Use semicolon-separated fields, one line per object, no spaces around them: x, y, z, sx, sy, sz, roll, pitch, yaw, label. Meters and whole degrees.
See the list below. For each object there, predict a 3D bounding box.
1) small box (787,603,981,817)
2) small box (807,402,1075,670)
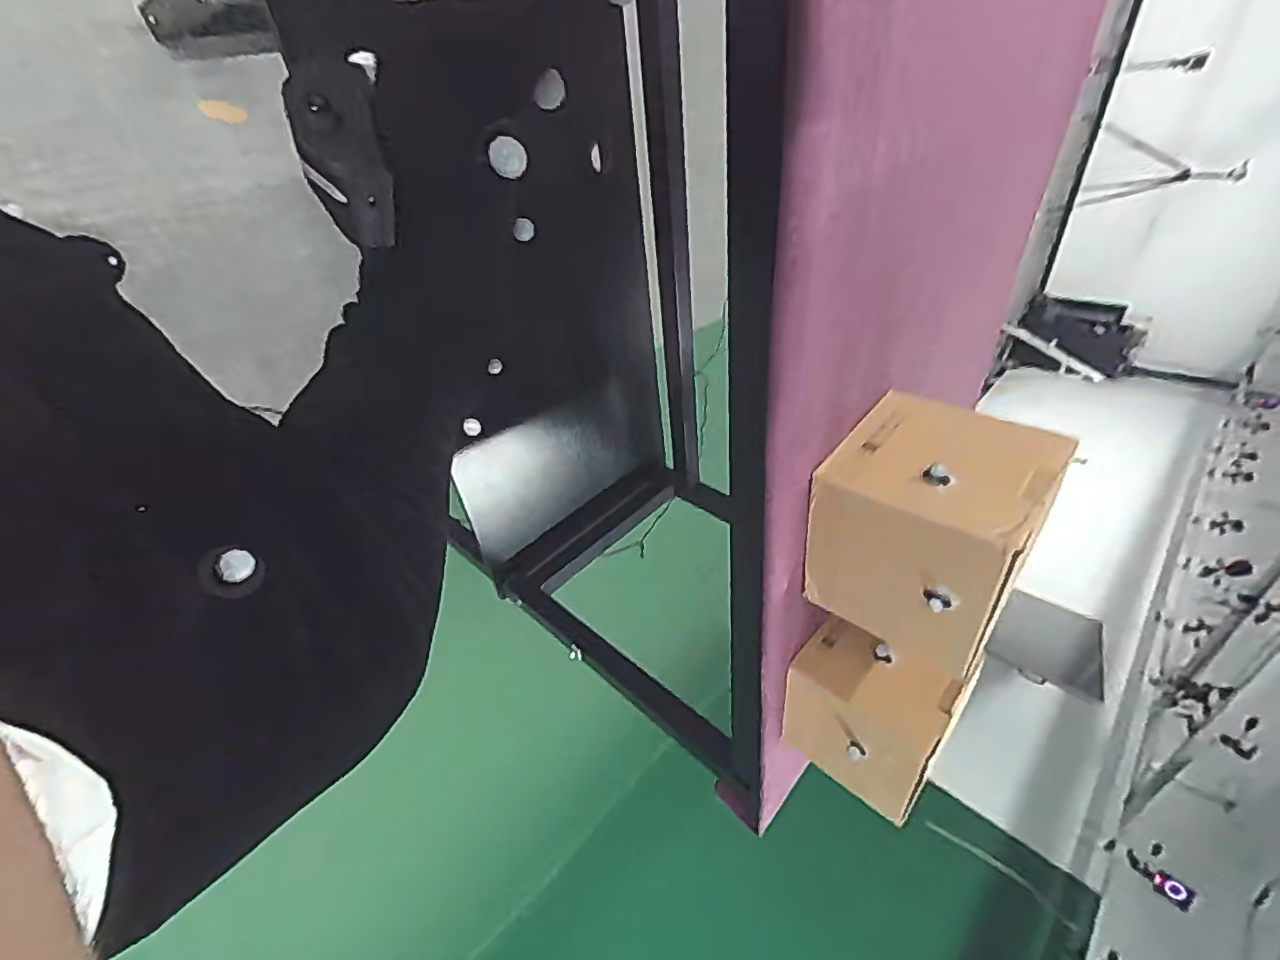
0.304;0.272;0.693;0.168;0.176;0.179;-36;133;-31;small box
0.278;0.039;0.527;0.168;0.176;0.179;-38;136;-31;small box
